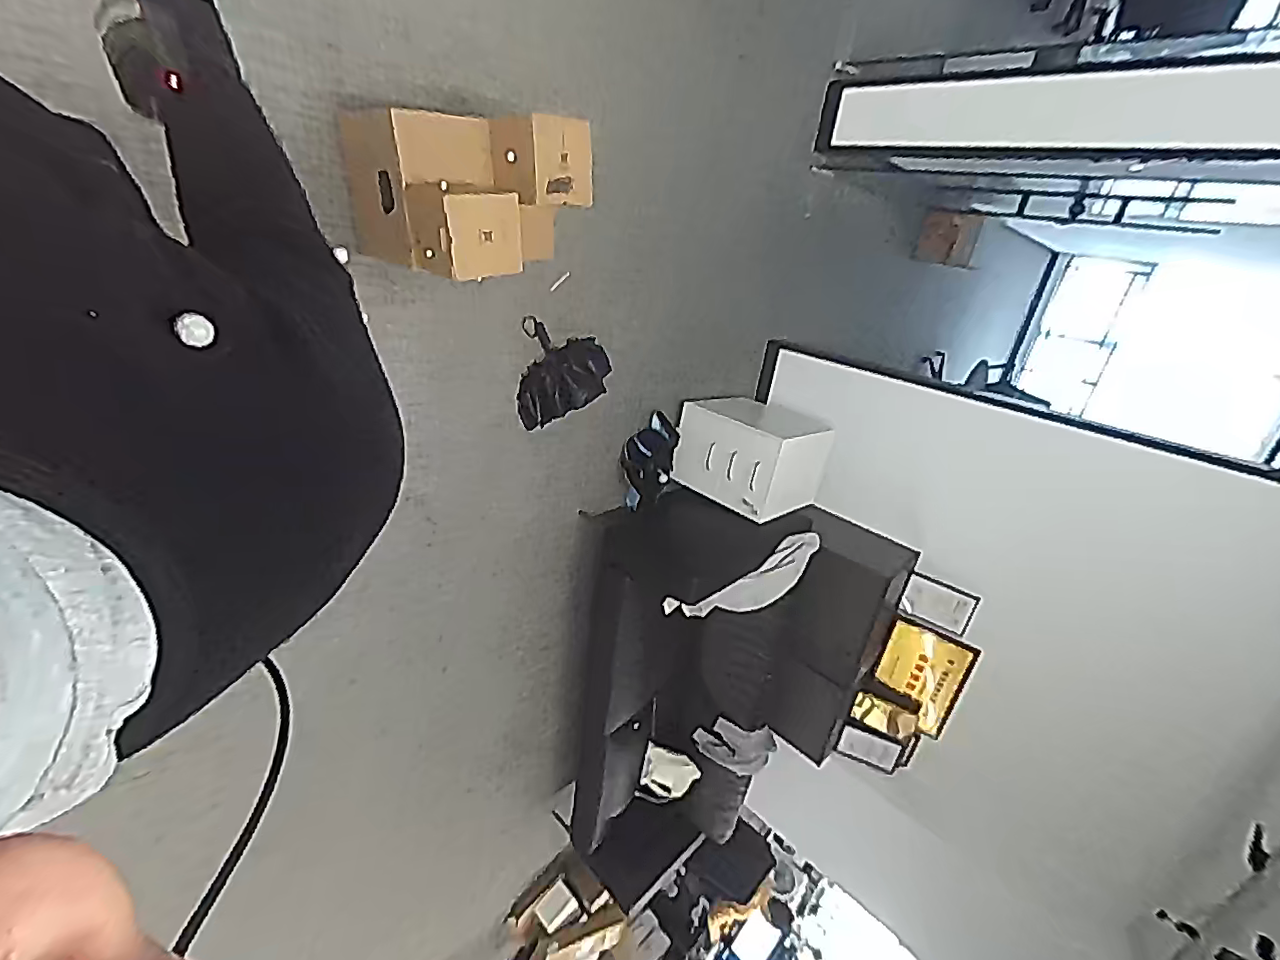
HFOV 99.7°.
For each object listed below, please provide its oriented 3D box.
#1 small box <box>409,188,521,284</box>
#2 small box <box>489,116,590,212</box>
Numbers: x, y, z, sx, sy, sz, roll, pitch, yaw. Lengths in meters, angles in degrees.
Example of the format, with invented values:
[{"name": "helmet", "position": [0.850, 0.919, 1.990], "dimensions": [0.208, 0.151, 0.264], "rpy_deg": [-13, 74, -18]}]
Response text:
[{"name": "small box", "position": [-0.388, -0.543, 1.195], "dimensions": [0.179, 0.176, 0.168], "rpy_deg": [-28, 135, -39]}, {"name": "small box", "position": [-0.234, -0.729, 1.262], "dimensions": [0.168, 0.176, 0.179], "rpy_deg": [-23, 125, -41]}]
